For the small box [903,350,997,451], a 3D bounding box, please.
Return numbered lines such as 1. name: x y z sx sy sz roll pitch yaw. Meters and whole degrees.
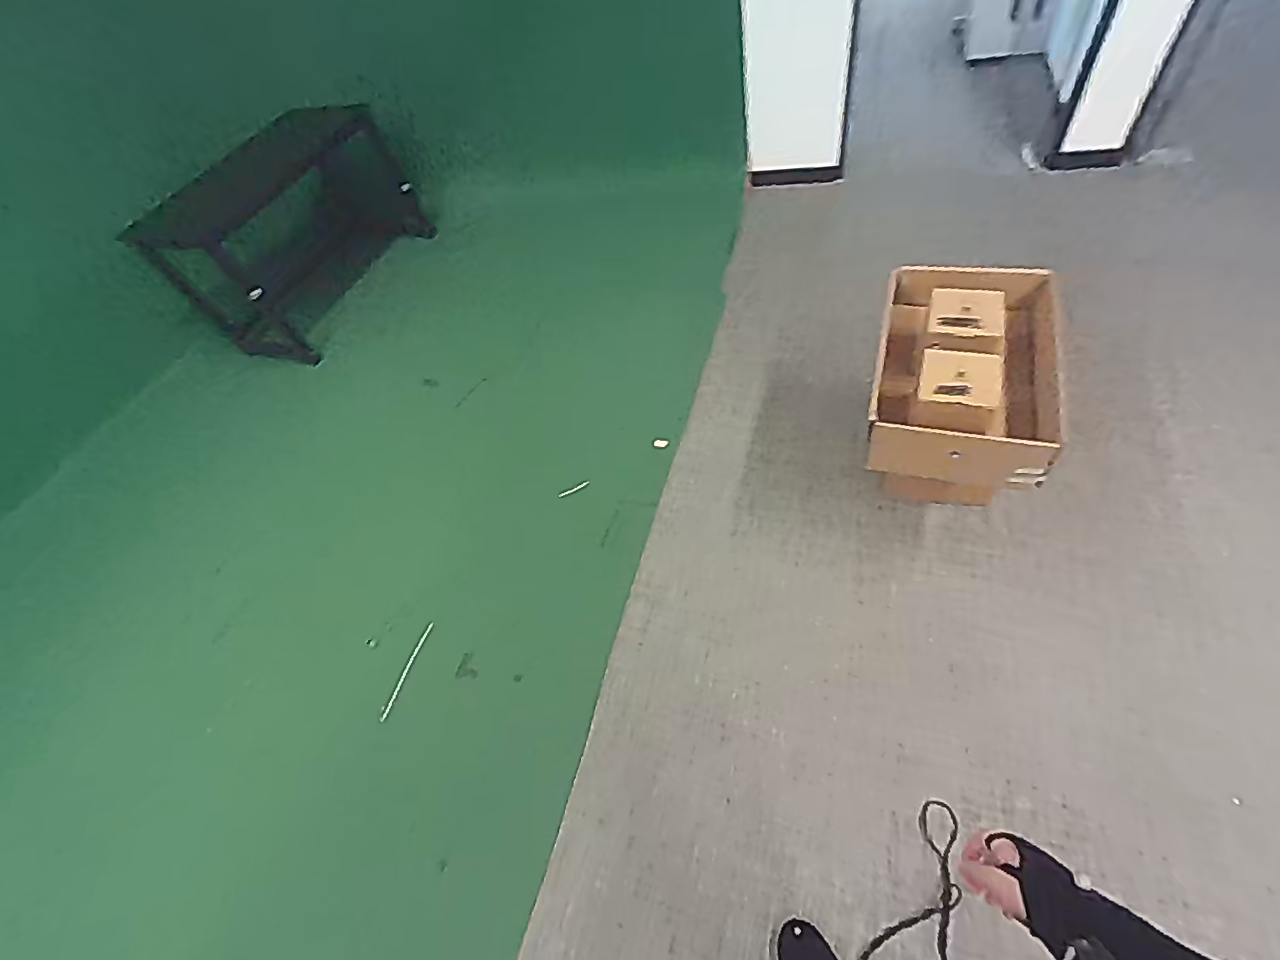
1. small box: 0.760 -0.193 1.337 0.168 0.176 0.179 11 58 20
